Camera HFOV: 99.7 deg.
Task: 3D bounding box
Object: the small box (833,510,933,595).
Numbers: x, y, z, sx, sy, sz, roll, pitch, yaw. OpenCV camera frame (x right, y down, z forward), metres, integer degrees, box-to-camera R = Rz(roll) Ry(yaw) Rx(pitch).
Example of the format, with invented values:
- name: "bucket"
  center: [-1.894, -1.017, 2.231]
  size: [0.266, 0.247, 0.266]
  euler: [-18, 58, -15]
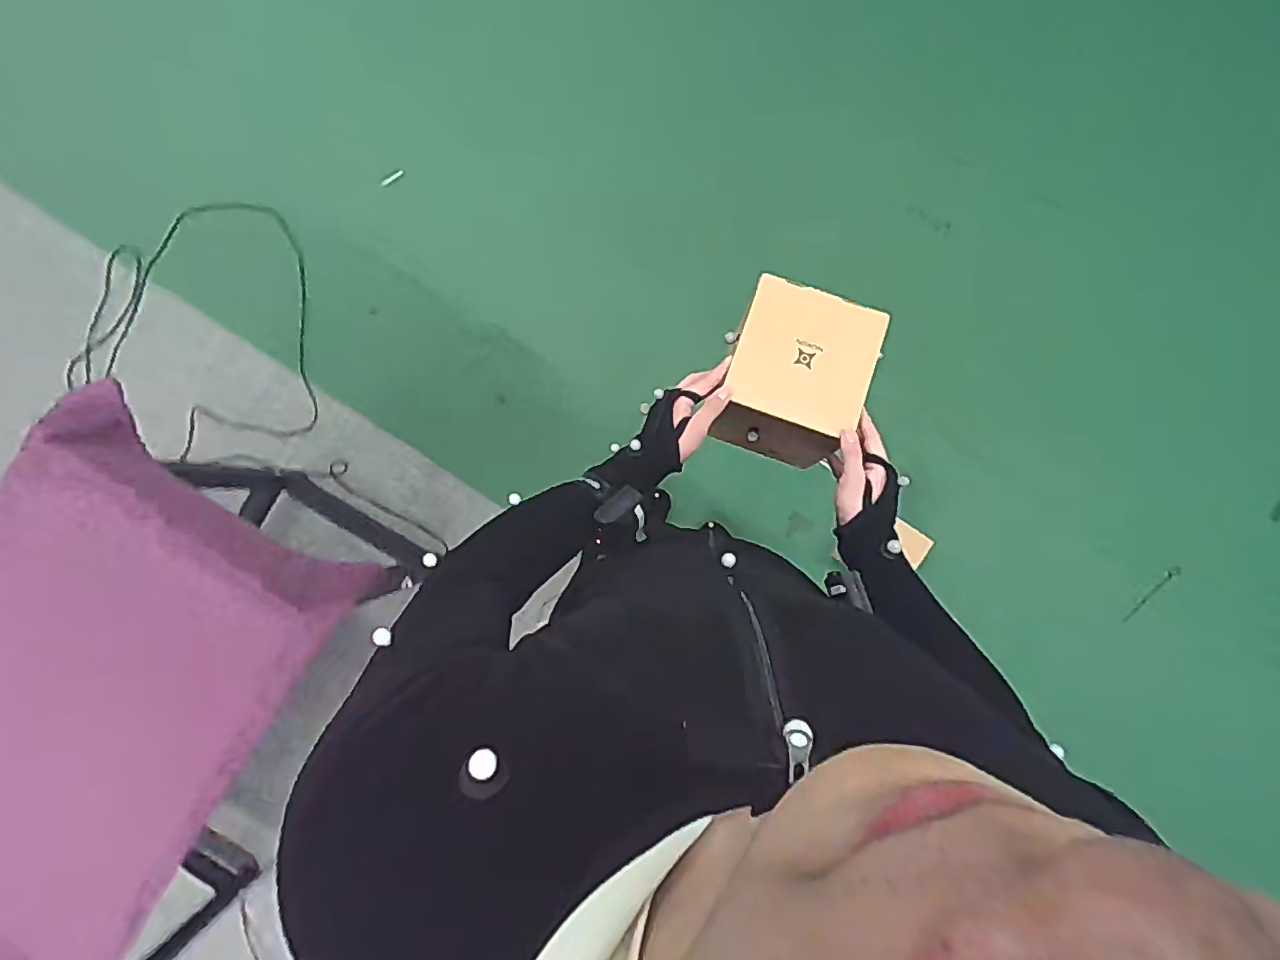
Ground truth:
- name: "small box"
  center: [0.680, 0.198, 1.542]
  size: [0.168, 0.176, 0.179]
  euler: [35, 89, 2]
